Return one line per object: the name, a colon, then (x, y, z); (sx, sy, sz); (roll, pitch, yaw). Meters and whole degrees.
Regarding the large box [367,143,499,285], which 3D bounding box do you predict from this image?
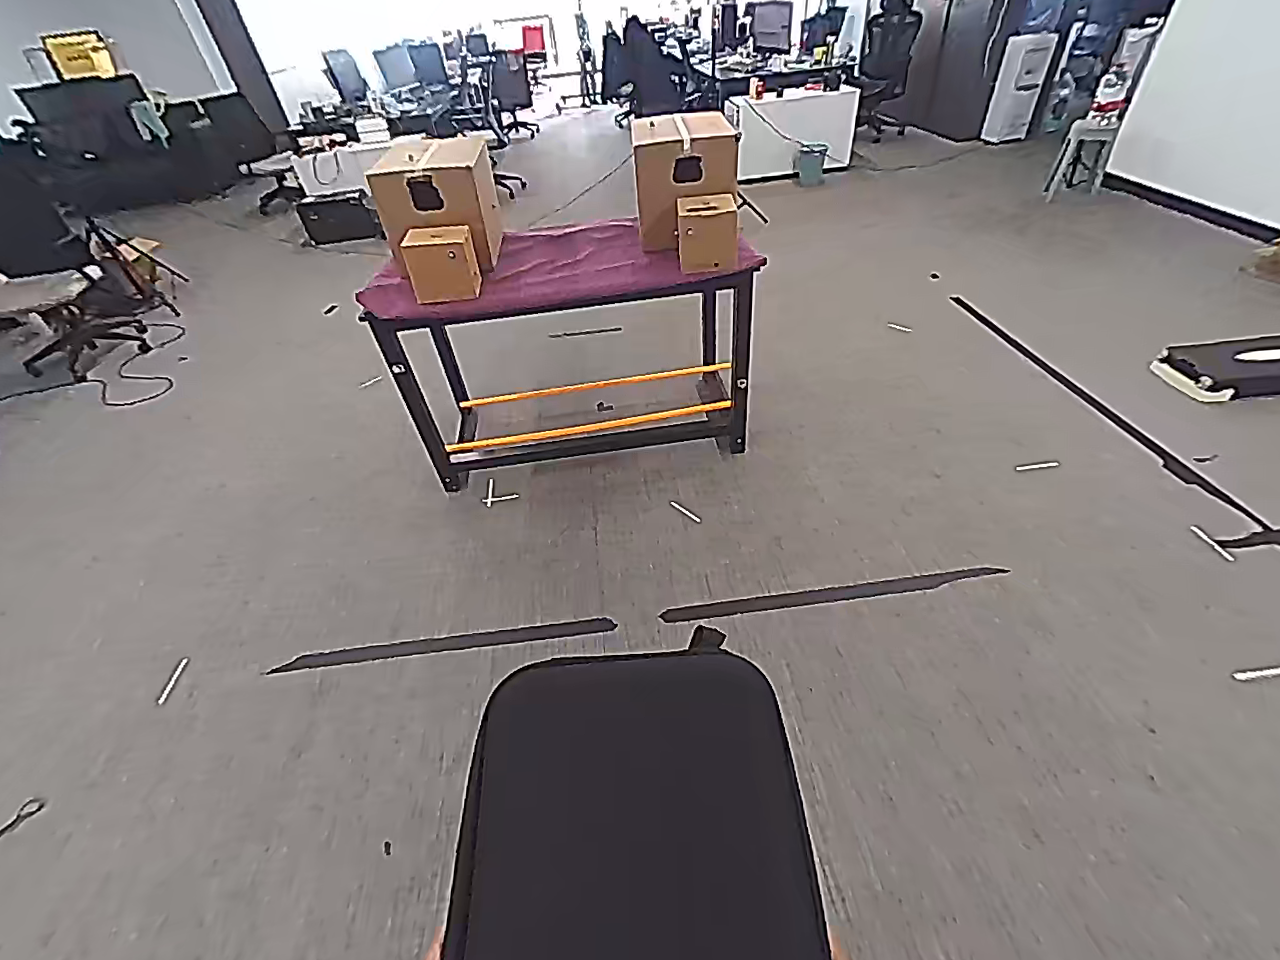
large box: (-0.664, -0.901, 1.819); (0.320, 0.320, 0.408); (-8, 45, -3)
